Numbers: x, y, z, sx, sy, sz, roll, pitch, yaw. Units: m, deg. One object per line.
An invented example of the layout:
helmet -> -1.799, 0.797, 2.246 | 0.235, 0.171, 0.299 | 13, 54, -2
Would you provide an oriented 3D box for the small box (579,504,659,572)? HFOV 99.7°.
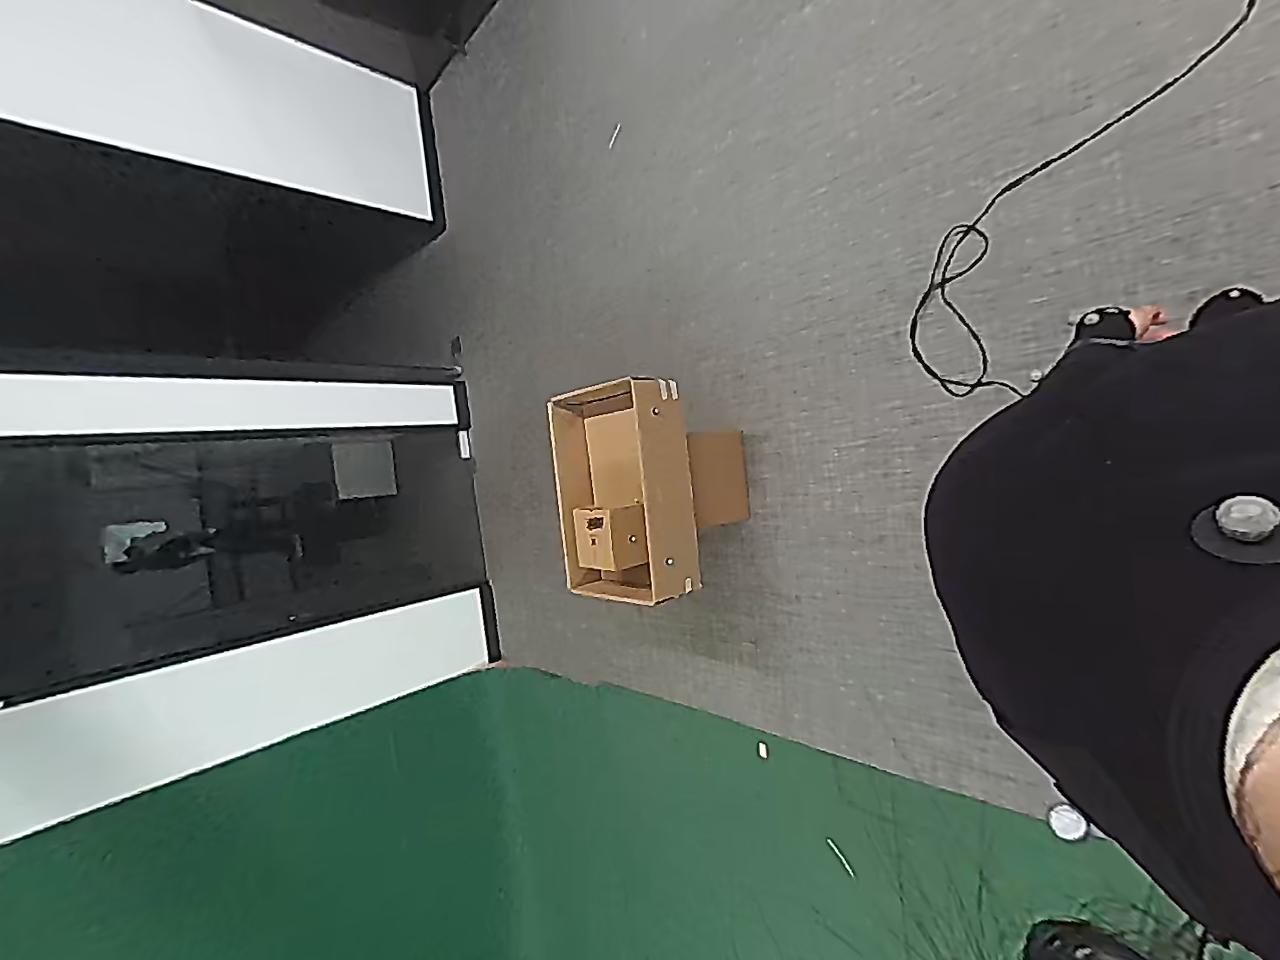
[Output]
small box -> -0.059, 0.163, 1.597 | 0.168, 0.176, 0.179 | -2, 93, 47
